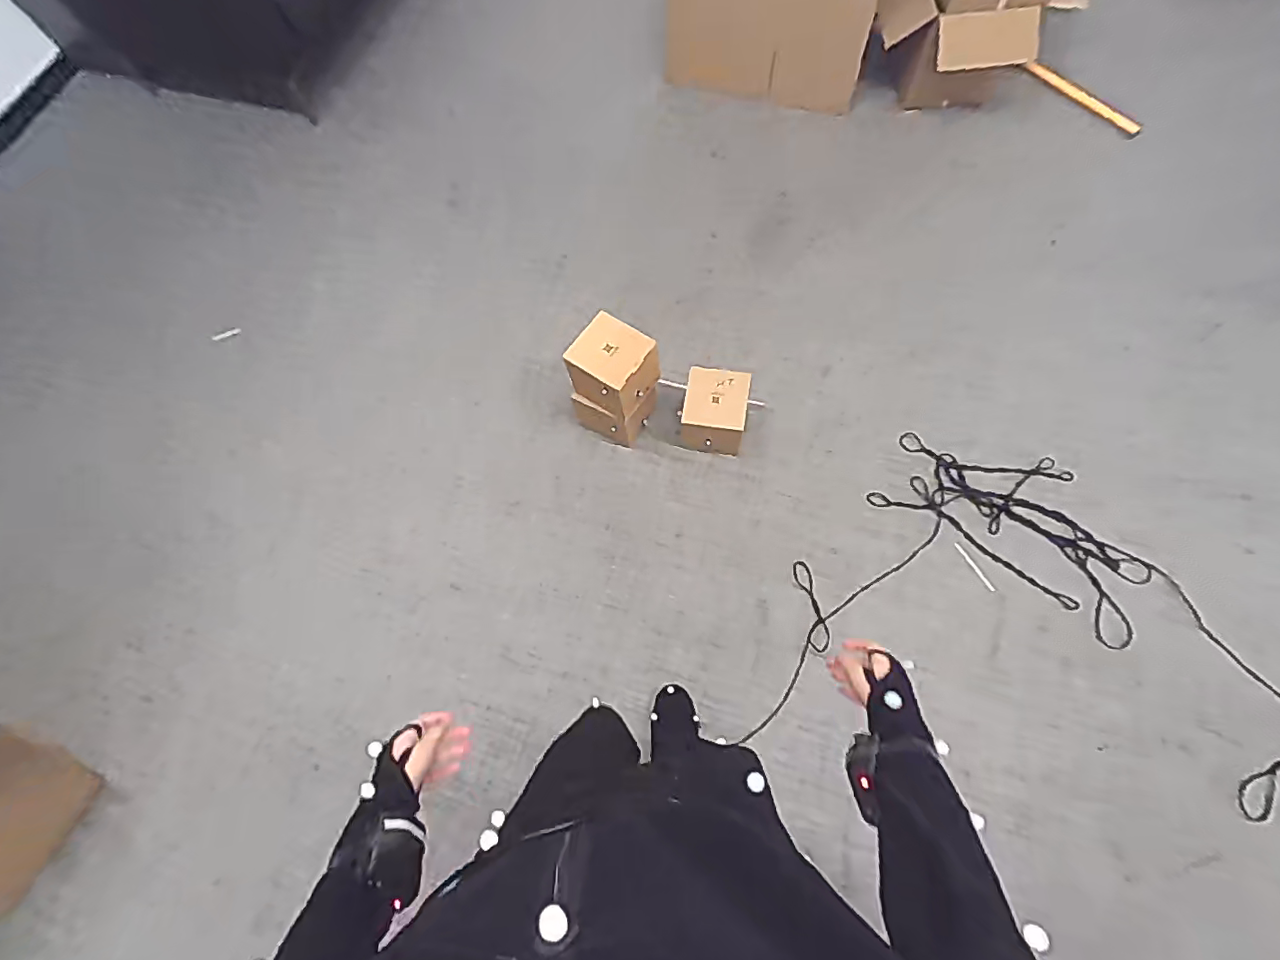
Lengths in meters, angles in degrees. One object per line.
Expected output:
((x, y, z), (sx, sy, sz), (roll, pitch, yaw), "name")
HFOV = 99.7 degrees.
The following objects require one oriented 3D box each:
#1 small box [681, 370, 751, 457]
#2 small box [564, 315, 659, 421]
((0.210, -0.178, 1.499), (0.168, 0.176, 0.179), (9, 70, 8), "small box")
((-0.067, -0.281, 1.392), (0.179, 0.176, 0.168), (33, 75, 15), "small box")
